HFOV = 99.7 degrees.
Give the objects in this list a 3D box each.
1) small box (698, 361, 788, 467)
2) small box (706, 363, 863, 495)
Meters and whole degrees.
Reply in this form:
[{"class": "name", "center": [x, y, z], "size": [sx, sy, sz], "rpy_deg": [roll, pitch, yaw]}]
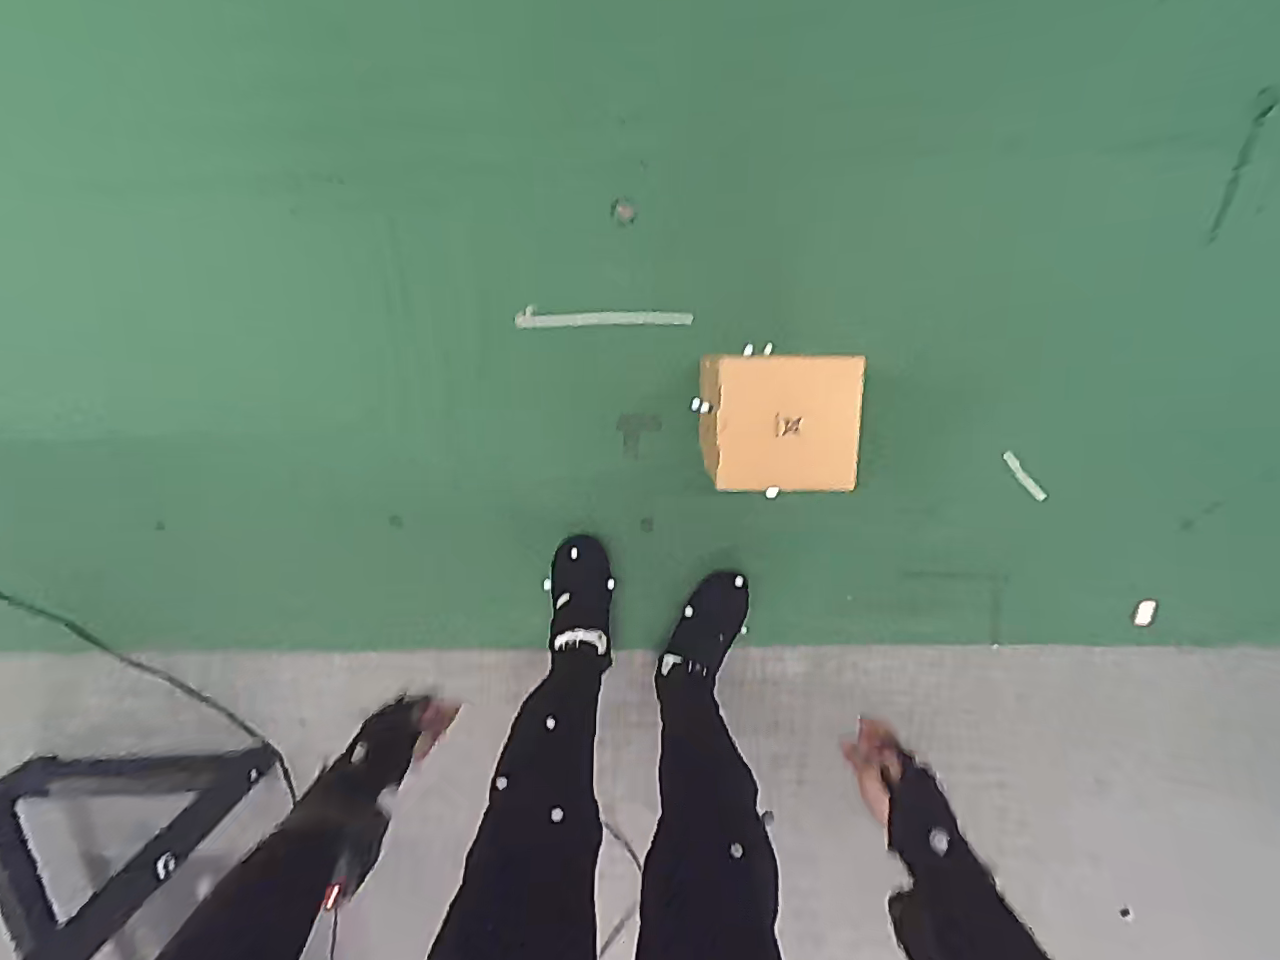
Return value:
[{"class": "small box", "center": [0.194, -0.114, 0.910], "size": [0.179, 0.176, 0.168], "rpy_deg": [0, 102, 2]}, {"class": "small box", "center": [0.187, -0.078, 0.752], "size": [0.179, 0.176, 0.168], "rpy_deg": [0, 102, 3]}]
